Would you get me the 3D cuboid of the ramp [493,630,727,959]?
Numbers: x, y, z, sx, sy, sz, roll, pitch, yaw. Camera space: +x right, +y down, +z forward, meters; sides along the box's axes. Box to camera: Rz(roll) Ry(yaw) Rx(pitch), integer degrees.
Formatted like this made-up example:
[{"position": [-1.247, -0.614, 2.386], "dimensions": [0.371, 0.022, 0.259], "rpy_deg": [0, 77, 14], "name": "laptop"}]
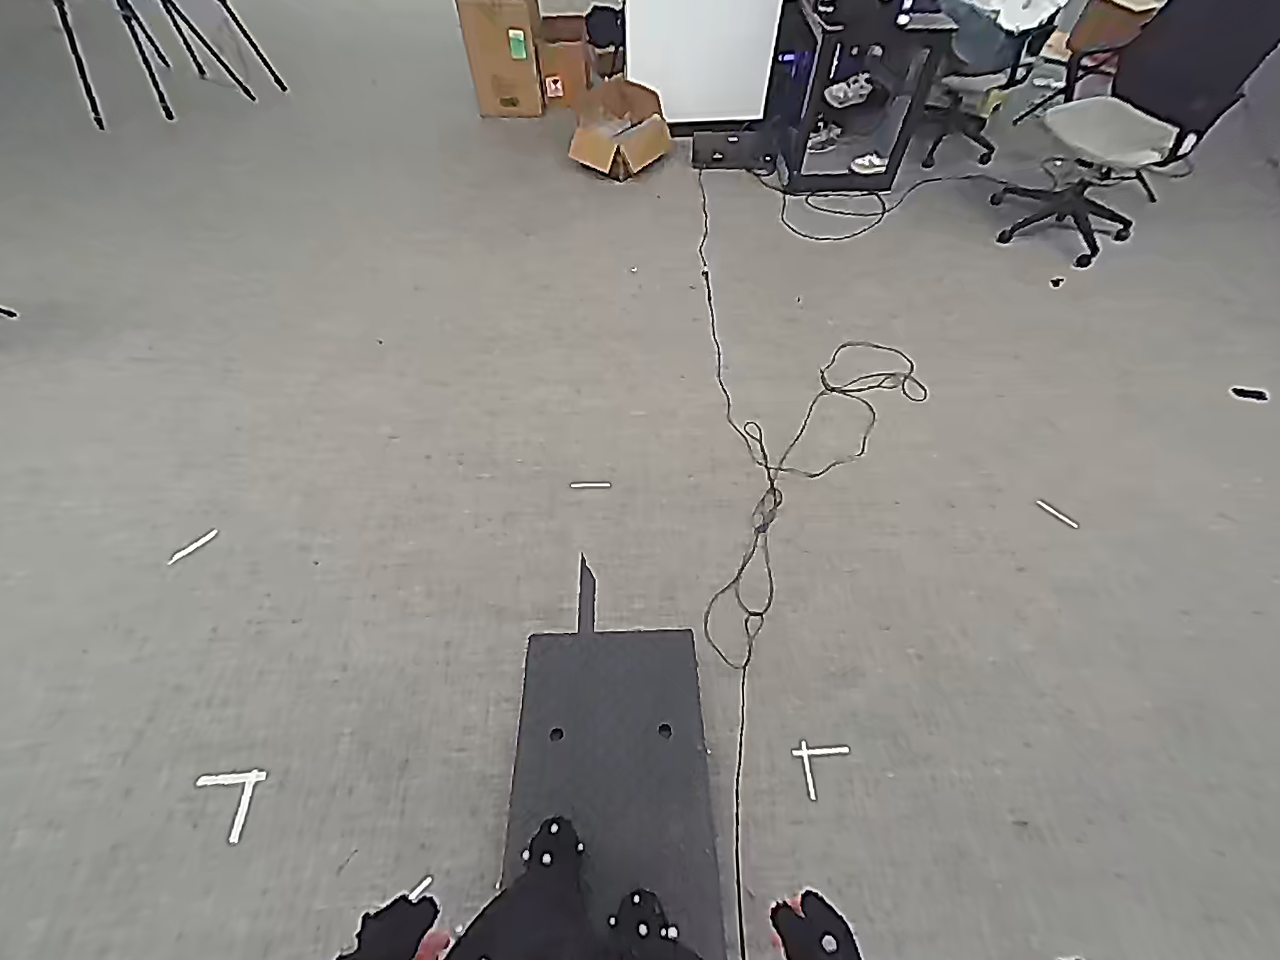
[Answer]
[{"position": [-0.071, 0.822, 1.282], "dimensions": [0.509, 0.206, 0.991], "rpy_deg": [-3, 56, -1], "name": "ramp"}]
